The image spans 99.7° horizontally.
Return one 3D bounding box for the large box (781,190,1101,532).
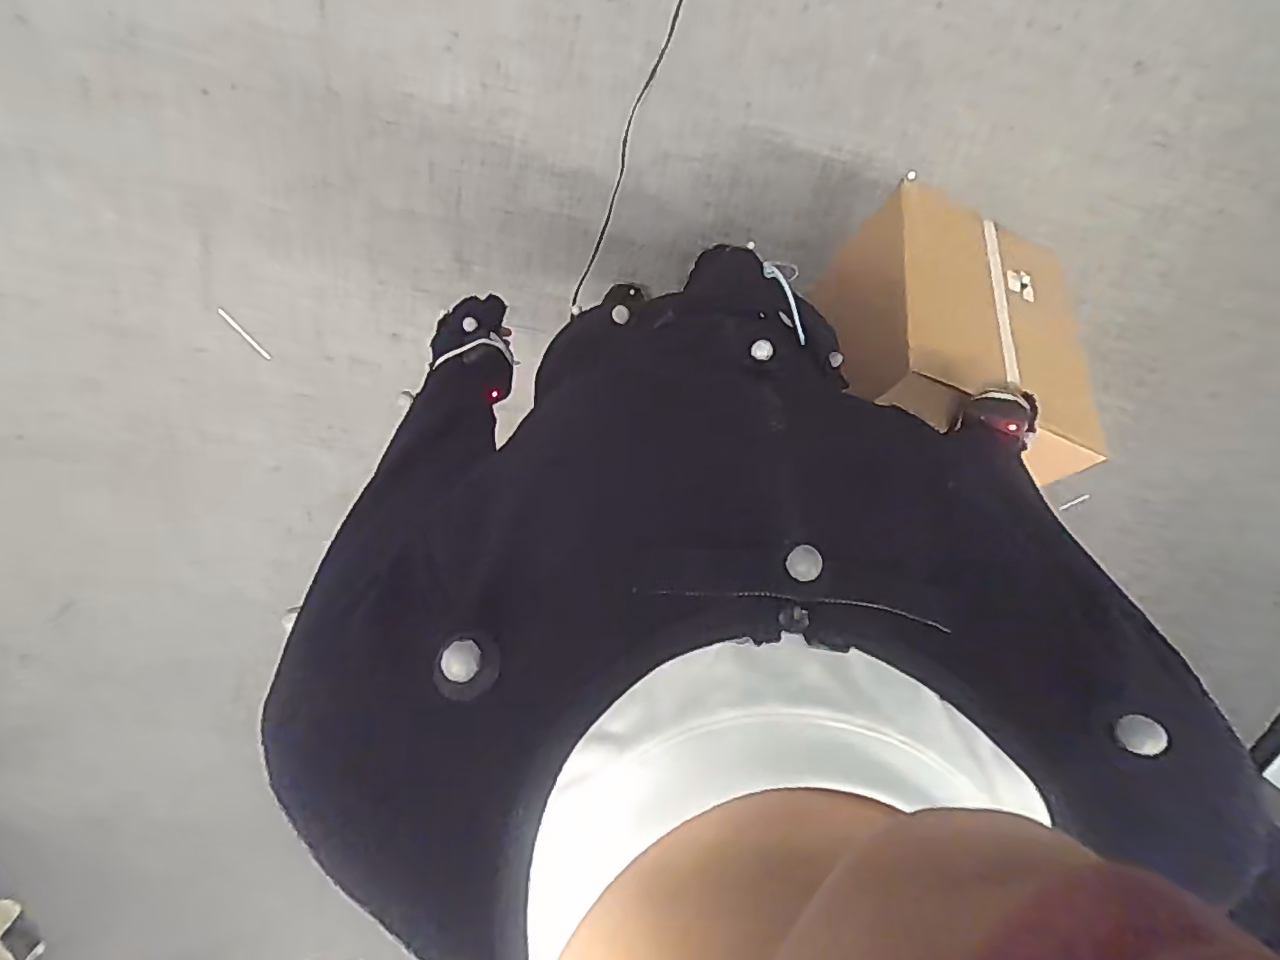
[{"bbox_3d":[0.457,-0.179,0.906,0.320,0.408,0.320,20,149,-11],"label":"large box"}]
